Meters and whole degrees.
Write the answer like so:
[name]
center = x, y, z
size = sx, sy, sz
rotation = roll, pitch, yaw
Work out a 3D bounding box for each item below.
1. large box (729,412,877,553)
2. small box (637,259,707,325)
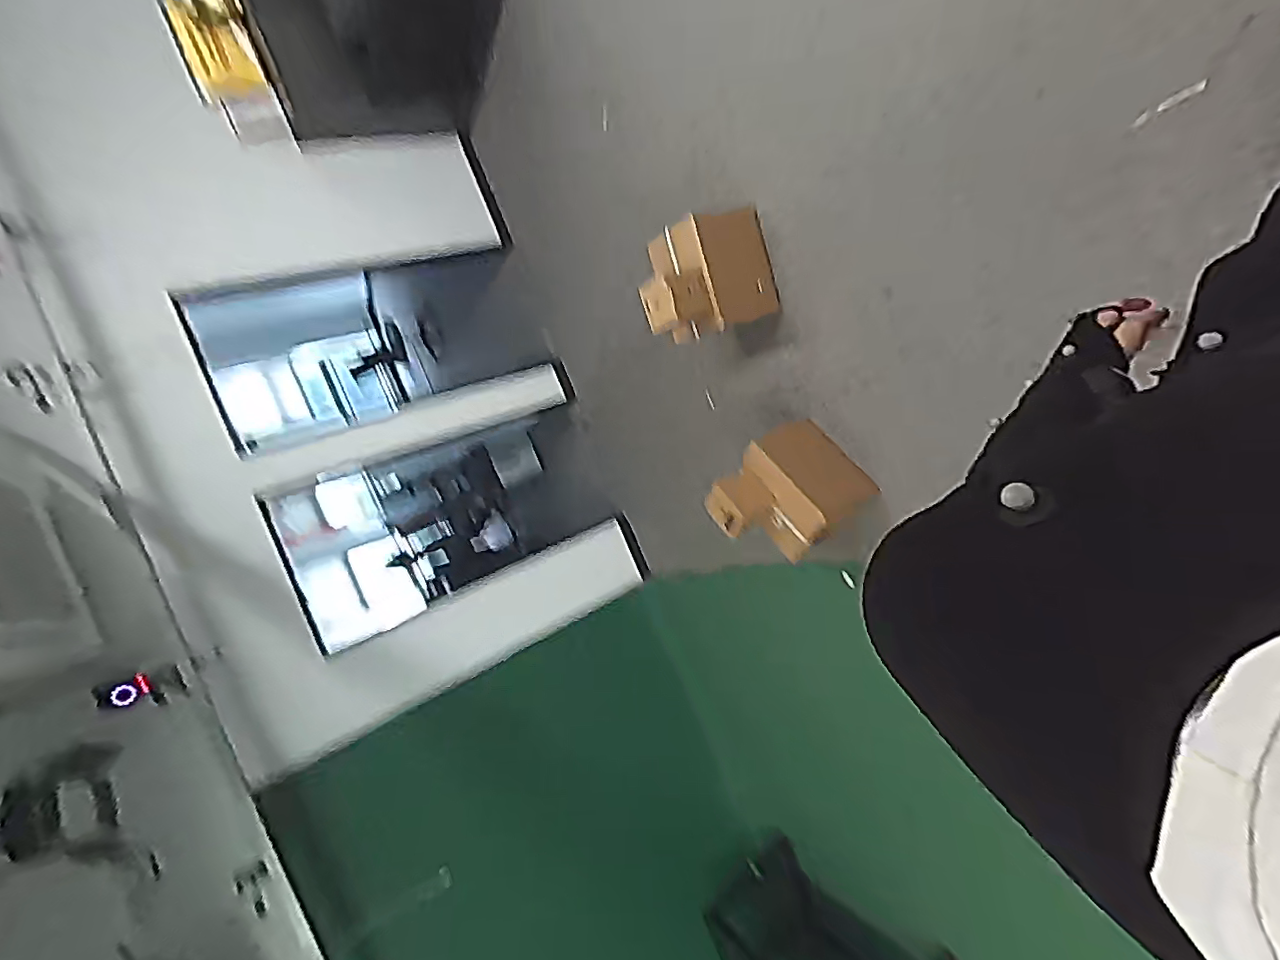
[large box]
center = 0.631, 0.000, 2.140
size = 0.408, 0.320, 0.320
rotation = 51, 149, 25
[small box]
center = 0.123, -0.685, 1.968
size = 0.179, 0.176, 0.168
rotation = -6, 106, 59
